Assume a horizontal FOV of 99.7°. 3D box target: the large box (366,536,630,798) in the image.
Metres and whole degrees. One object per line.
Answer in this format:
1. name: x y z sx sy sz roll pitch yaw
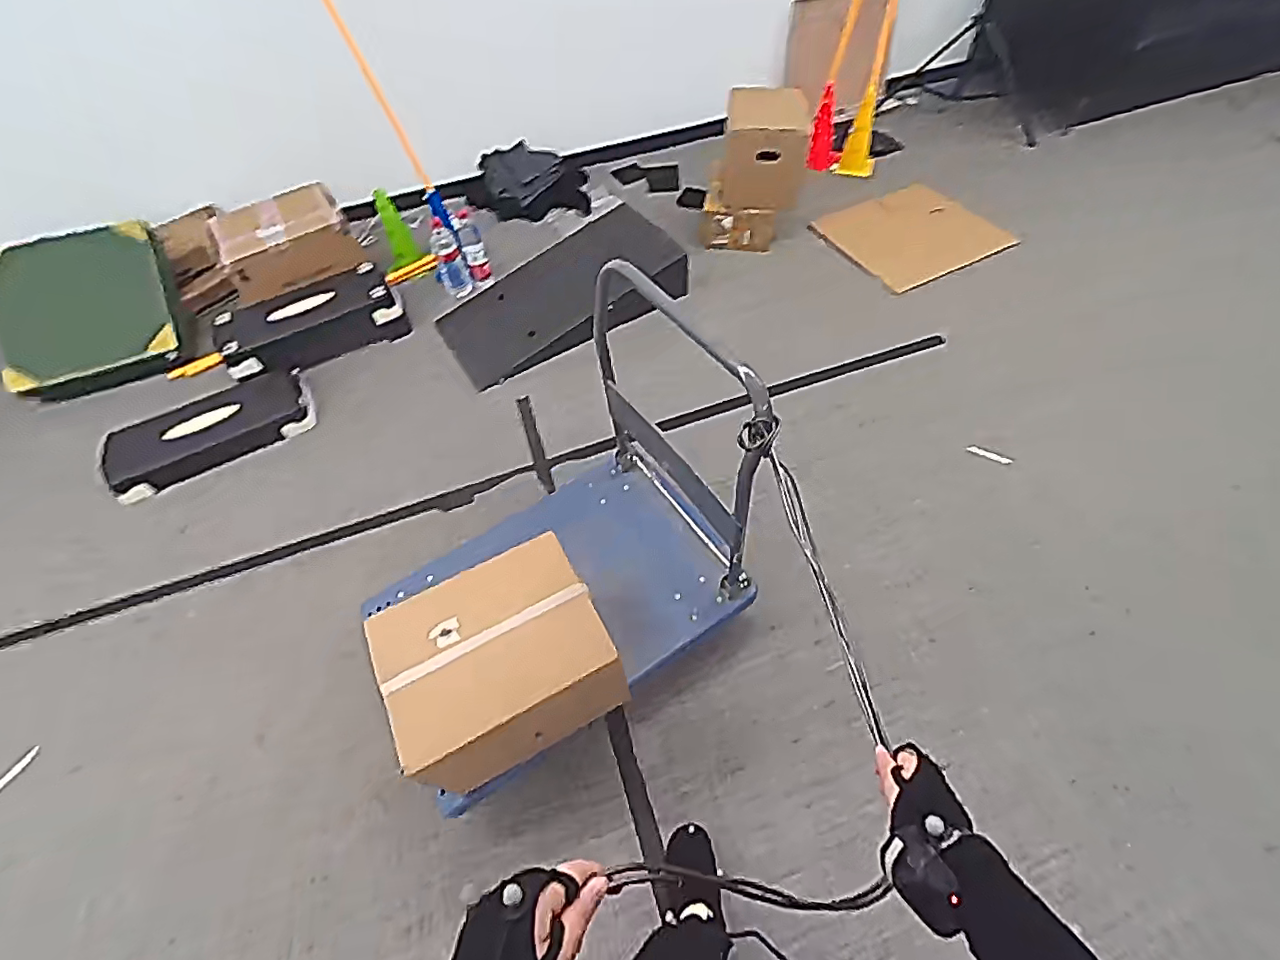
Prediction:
1. large box: -0.272 0.392 1.130 0.408 0.320 0.320 -26 57 -14
